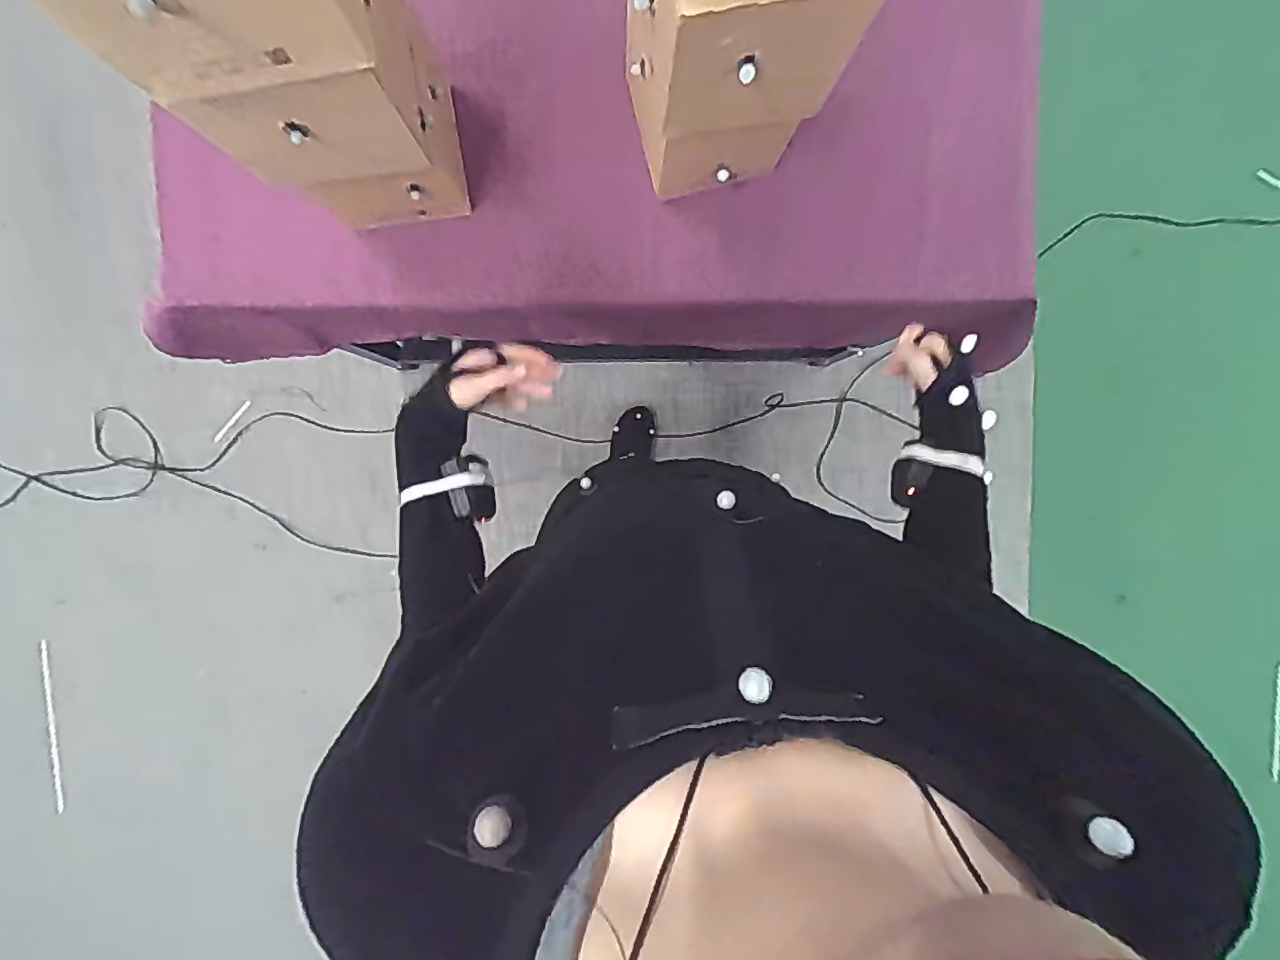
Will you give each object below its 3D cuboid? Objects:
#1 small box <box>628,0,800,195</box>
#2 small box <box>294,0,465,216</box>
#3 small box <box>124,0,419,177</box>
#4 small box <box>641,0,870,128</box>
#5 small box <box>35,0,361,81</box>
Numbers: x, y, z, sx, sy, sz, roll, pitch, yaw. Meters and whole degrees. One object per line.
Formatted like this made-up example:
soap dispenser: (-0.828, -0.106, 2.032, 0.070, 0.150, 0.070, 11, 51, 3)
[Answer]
small box: (0.082, -0.484, 0.656, 0.168, 0.176, 0.179, -13, 94, -1)
small box: (-0.320, -0.435, 0.644, 0.168, 0.176, 0.179, -8, 93, -3)
small box: (-0.314, -0.399, 0.483, 0.179, 0.176, 0.168, -8, 94, -2)
small box: (0.093, -0.455, 0.494, 0.179, 0.176, 0.168, -9, 94, -2)
small box: (-0.296, -0.379, 0.322, 0.168, 0.176, 0.179, -12, 94, -3)
